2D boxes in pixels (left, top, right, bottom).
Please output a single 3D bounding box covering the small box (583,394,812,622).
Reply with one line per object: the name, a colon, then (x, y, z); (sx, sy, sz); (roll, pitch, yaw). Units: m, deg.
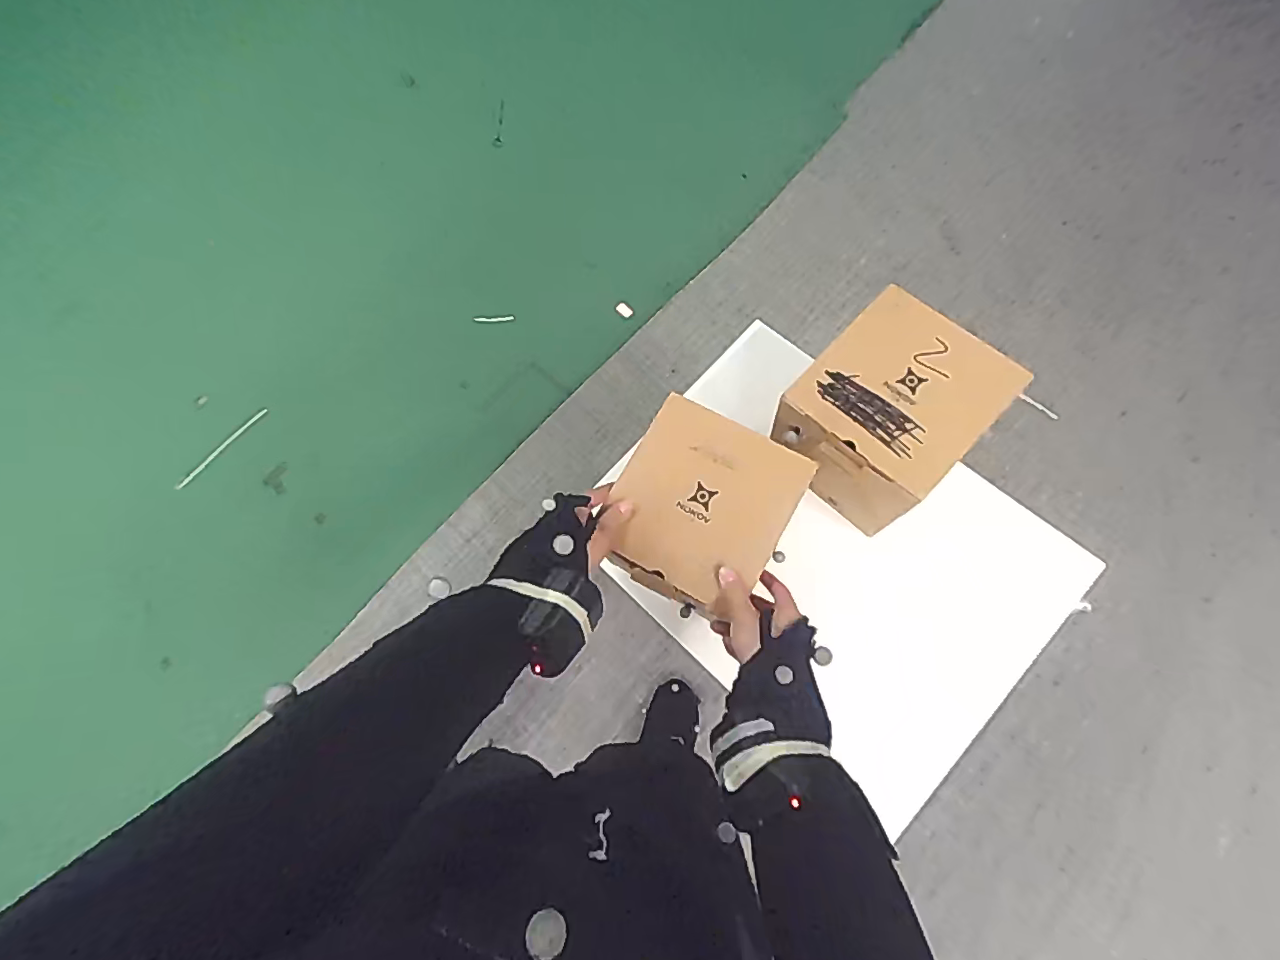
small box: (0.063, 0.043, 0.594); (0.168, 0.176, 0.179); (28, 77, 12)
